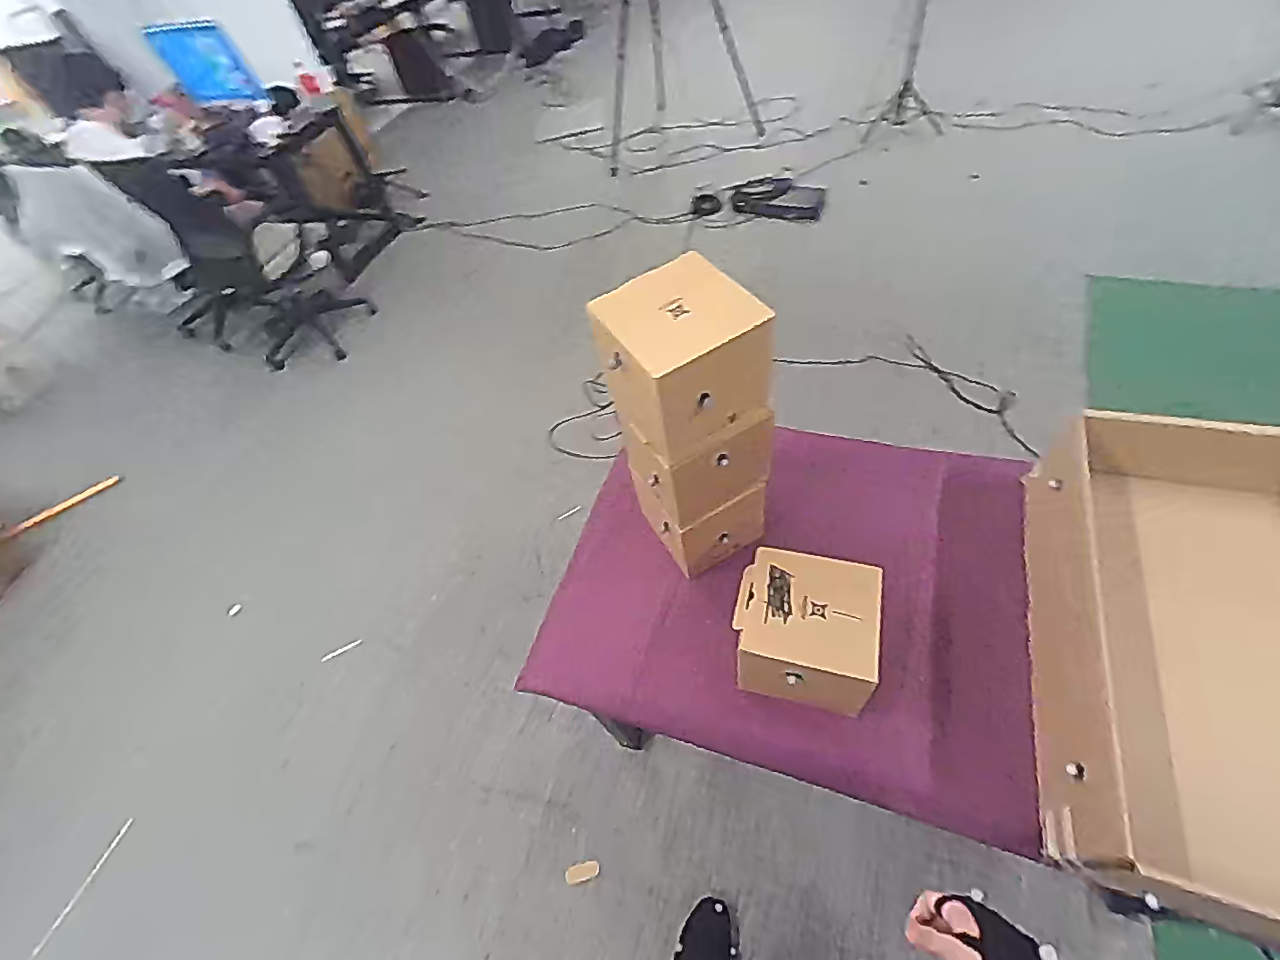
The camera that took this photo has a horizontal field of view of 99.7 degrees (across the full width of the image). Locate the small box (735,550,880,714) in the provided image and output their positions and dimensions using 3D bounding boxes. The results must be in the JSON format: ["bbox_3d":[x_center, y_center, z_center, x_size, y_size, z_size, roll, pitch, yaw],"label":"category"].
[{"bbox_3d":[0.244,0.228,0.801,0.179,0.176,0.168,9,55,17],"label":"small box"}]

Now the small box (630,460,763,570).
[{"bbox_3d":[0.104,0.038,0.970,0.168,0.176,0.179,-27,54,-11],"label":"small box"}]

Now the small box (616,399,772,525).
[{"bbox_3d":[0.086,-0.059,0.841,0.179,0.176,0.168,-28,55,-10],"label":"small box"}]

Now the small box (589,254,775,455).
[{"bbox_3d":[0.058,-0.156,0.714,0.168,0.176,0.179,-29,55,-11],"label":"small box"}]
